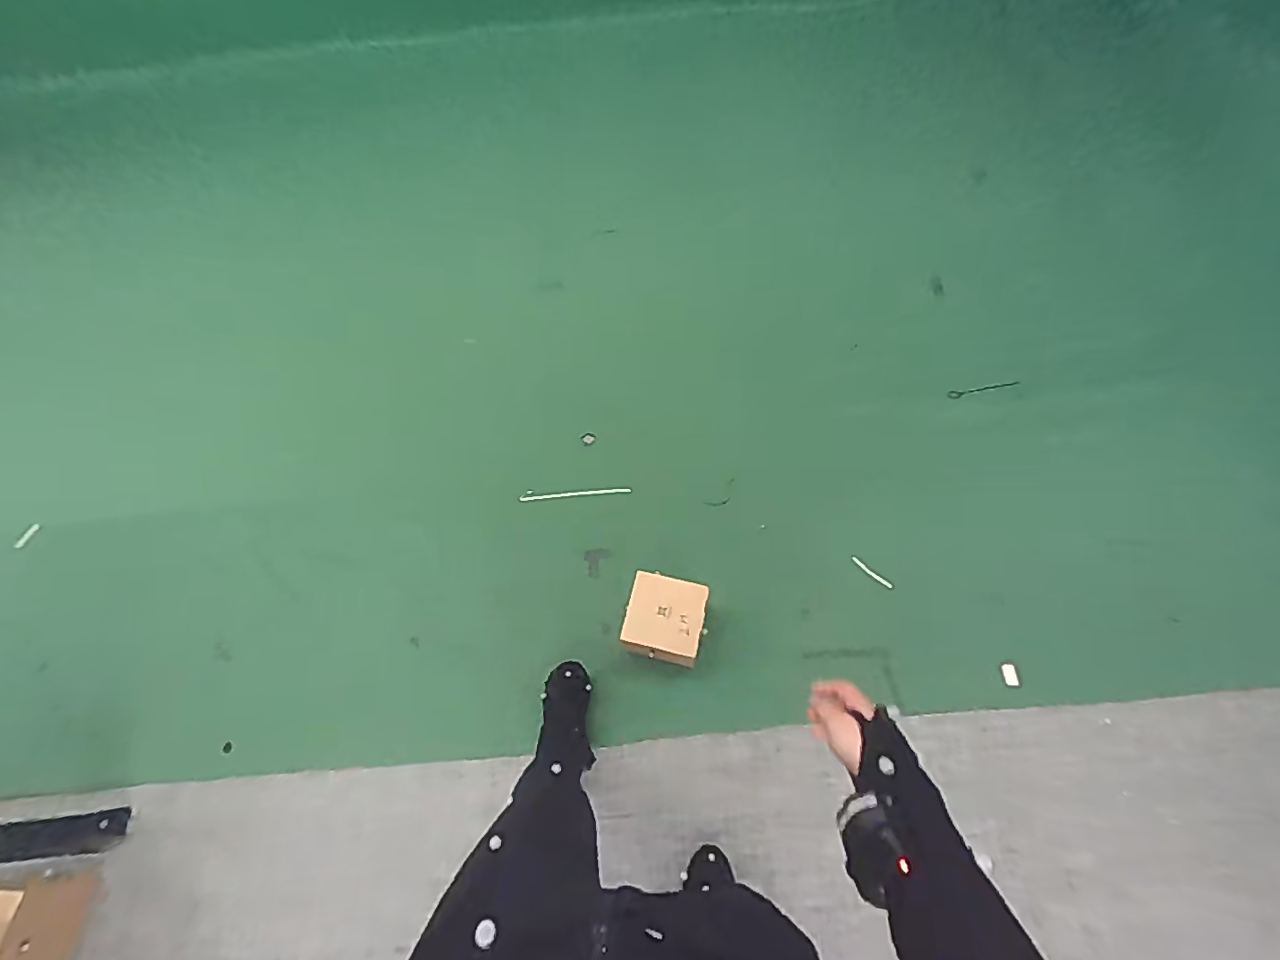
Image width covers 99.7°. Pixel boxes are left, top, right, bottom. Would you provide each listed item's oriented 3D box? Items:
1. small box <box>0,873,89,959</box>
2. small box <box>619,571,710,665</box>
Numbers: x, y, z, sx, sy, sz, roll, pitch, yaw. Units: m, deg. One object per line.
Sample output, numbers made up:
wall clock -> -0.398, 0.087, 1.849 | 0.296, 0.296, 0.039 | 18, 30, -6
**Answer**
small box -> -1.288, 0.917, 1.087 | 0.168, 0.176, 0.179 | 0, 64, 2
small box -> 0.060, 0.336, 1.291 | 0.179, 0.176, 0.168 | 12, 66, 8
